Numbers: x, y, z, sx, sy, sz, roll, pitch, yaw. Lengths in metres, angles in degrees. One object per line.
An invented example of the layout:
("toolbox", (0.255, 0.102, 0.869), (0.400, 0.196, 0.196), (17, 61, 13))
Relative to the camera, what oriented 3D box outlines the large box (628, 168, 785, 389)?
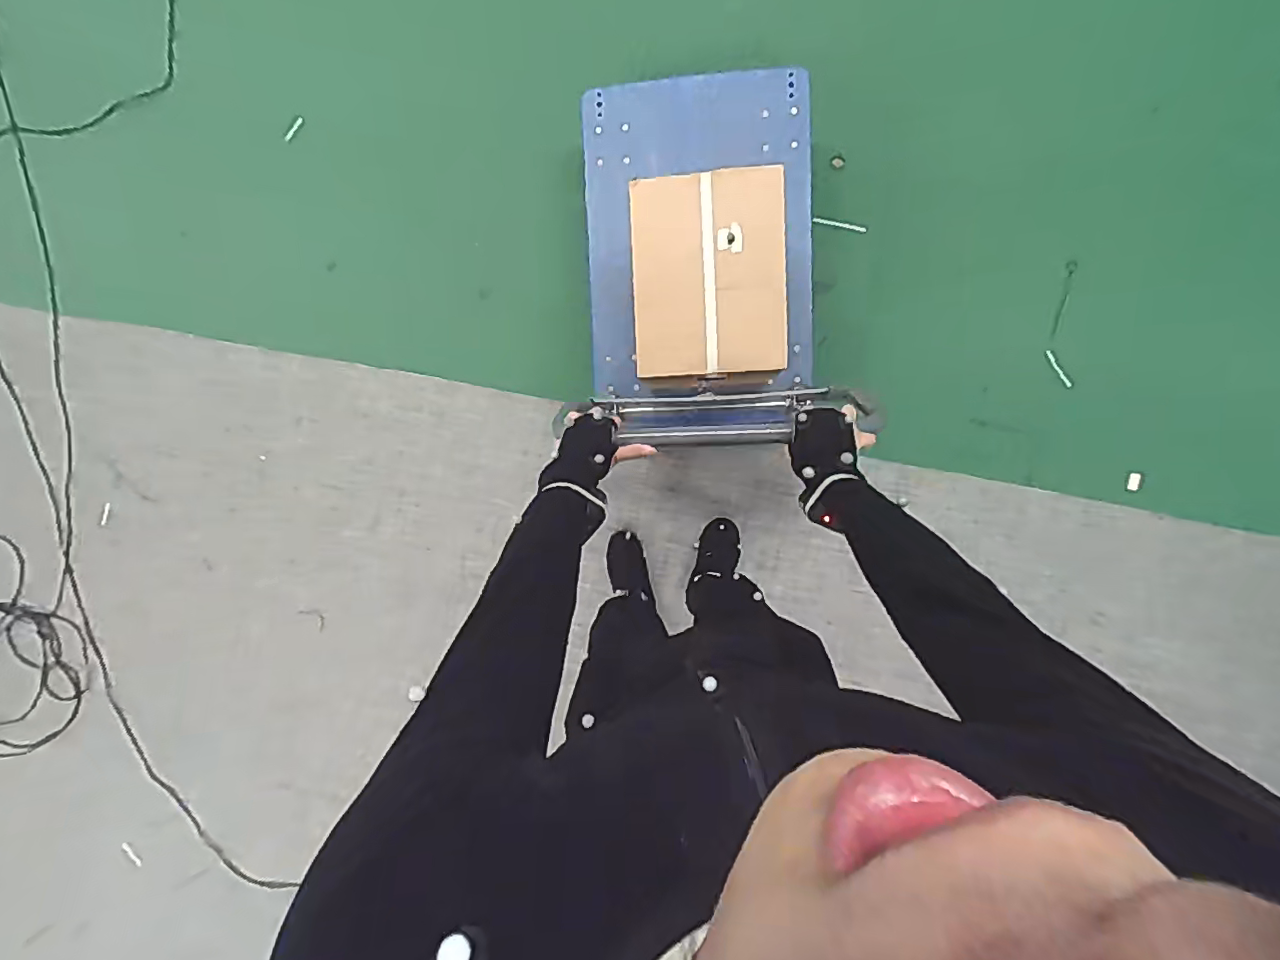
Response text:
("large box", (0.155, -0.436, 1.265), (0.320, 0.320, 0.408), (-2, 95, 6))
